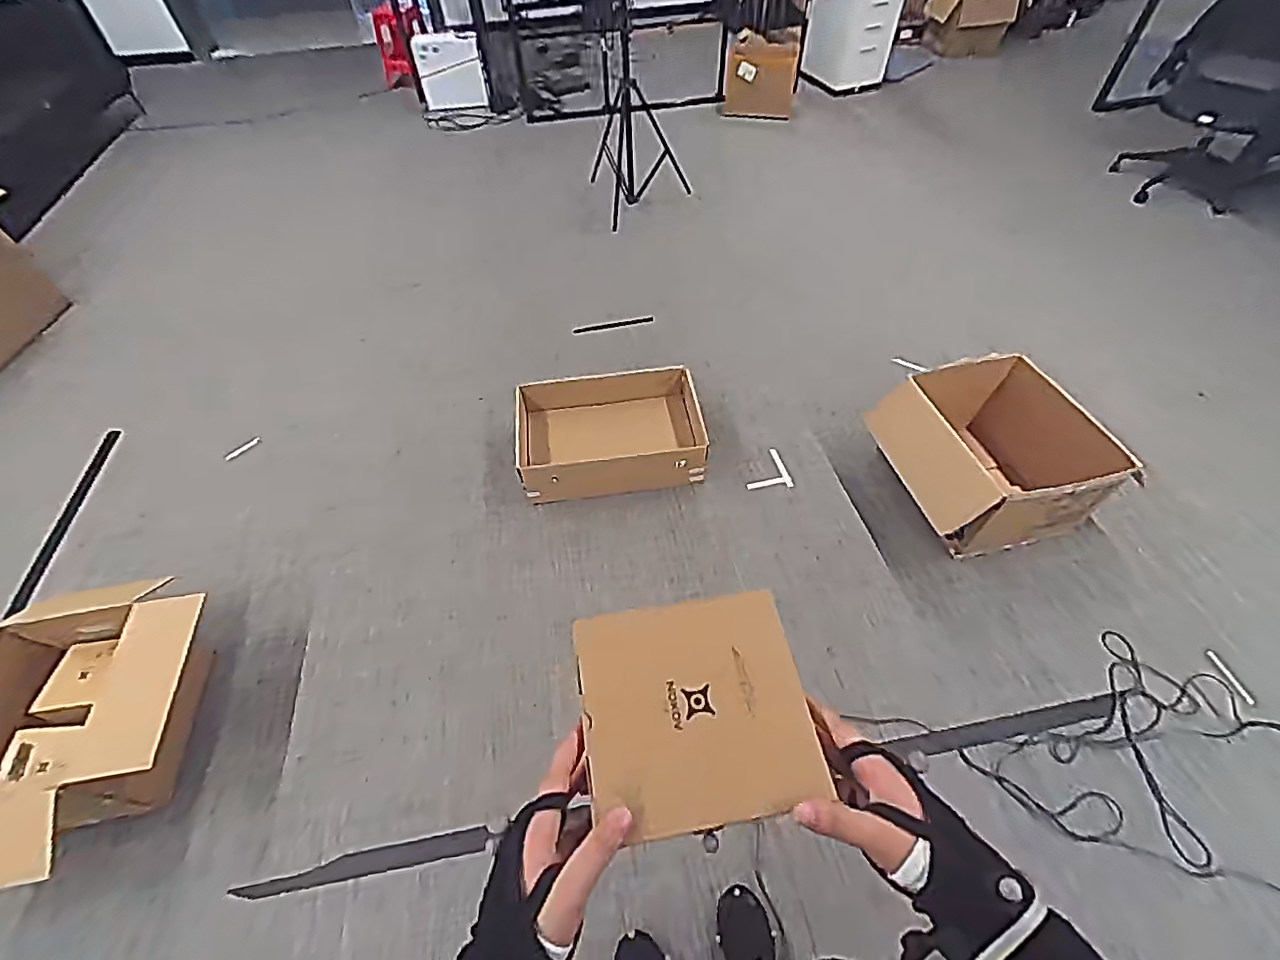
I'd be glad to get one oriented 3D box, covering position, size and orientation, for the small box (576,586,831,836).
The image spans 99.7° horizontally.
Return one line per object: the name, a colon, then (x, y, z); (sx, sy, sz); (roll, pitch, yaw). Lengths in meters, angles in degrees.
small box: (0.044, 0.217, 0.497); (0.179, 0.176, 0.168); (-9, 58, -6)
